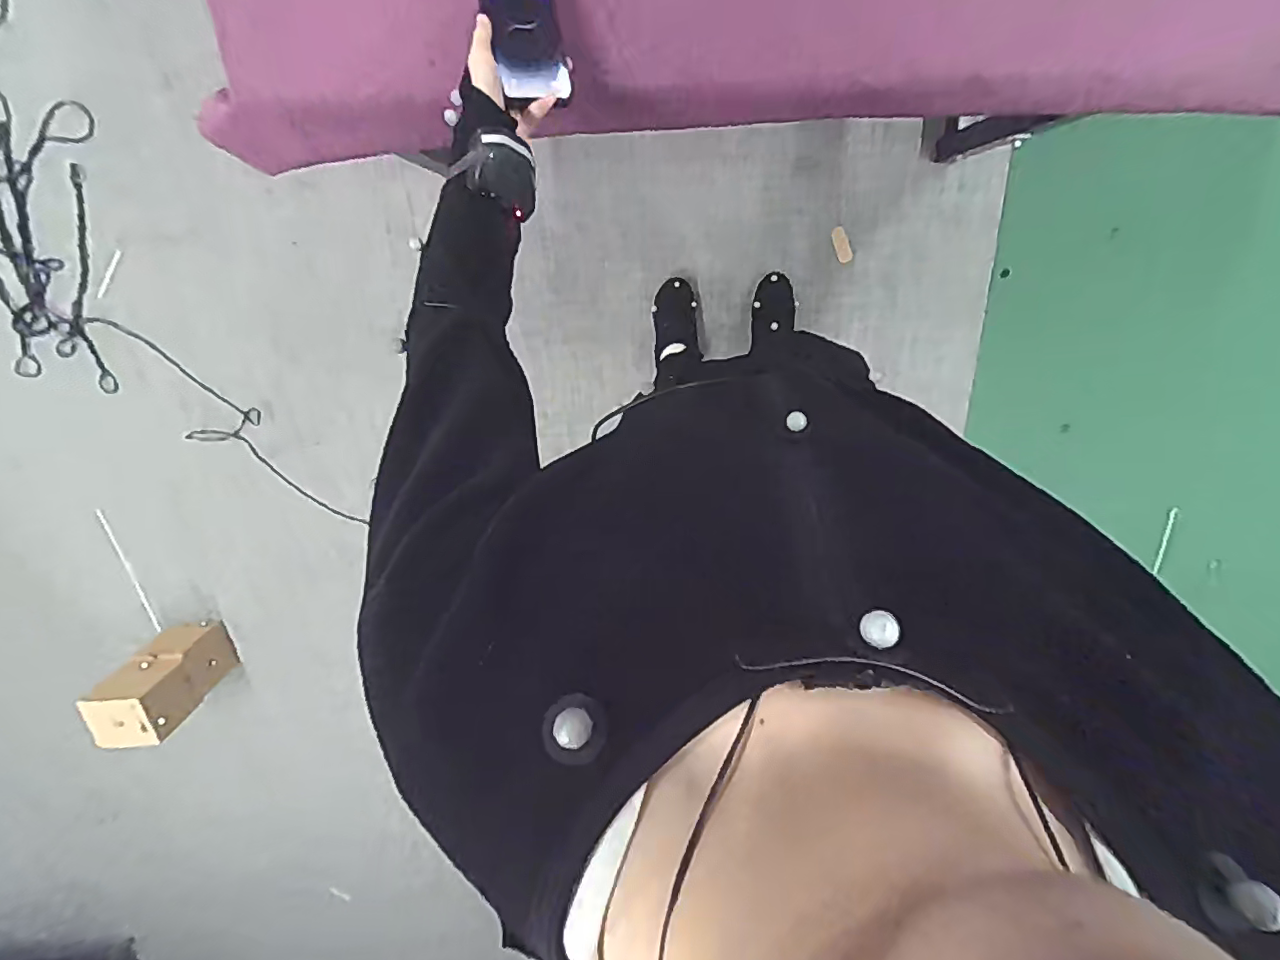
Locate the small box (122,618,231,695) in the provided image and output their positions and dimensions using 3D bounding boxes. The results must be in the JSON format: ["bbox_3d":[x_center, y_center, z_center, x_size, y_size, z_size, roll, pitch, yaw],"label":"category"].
[{"bbox_3d":[-1.426,0.542,1.678,0.168,0.176,0.179,-2,111,2],"label":"small box"}]

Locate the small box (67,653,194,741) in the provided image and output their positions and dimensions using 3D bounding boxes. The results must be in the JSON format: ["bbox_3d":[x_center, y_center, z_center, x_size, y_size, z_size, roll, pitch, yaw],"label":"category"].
[{"bbox_3d":[-1.427,0.606,1.527,0.179,0.176,0.168,-1,111,2],"label":"small box"}]
